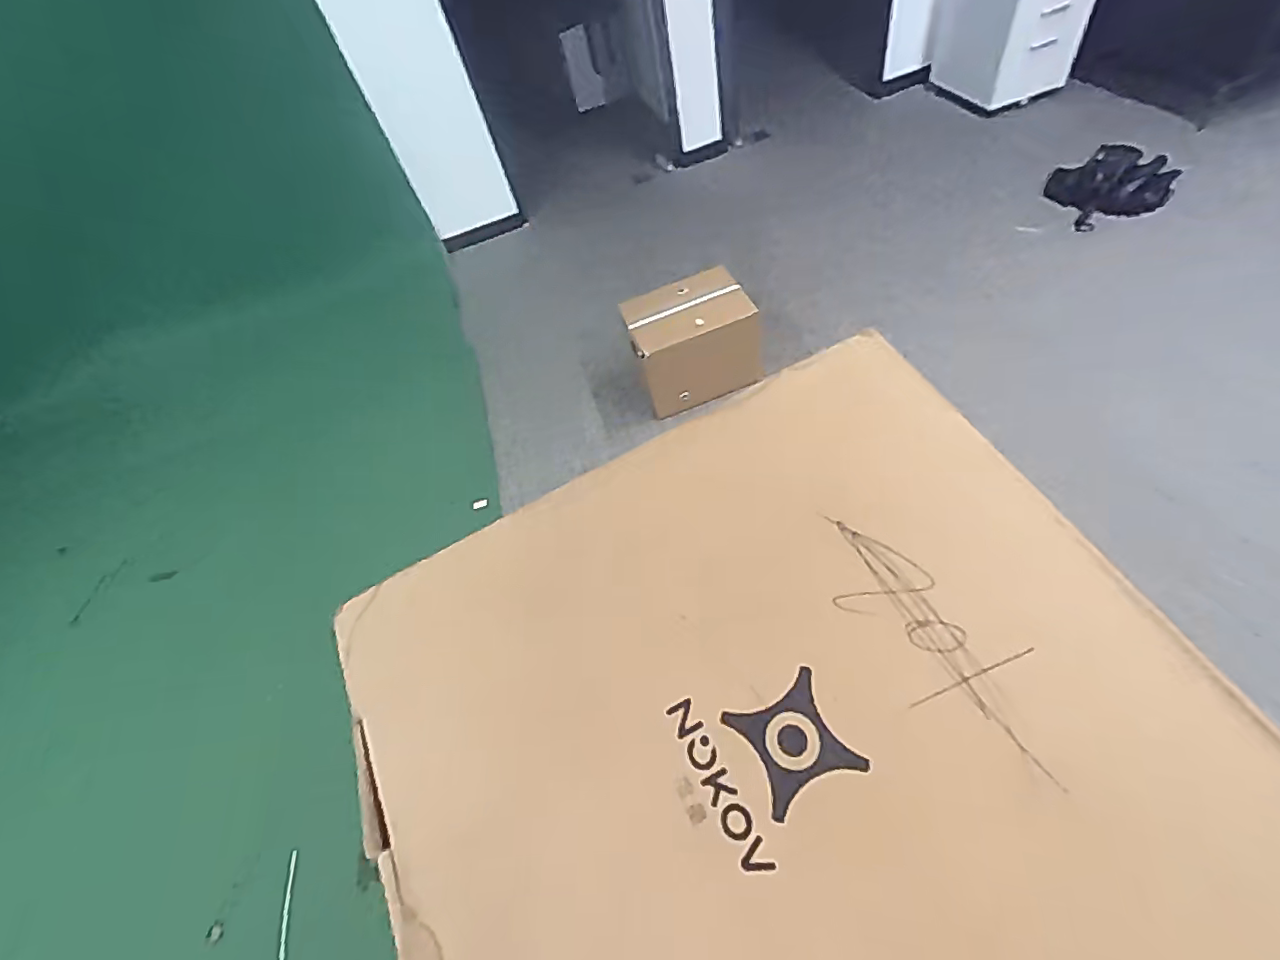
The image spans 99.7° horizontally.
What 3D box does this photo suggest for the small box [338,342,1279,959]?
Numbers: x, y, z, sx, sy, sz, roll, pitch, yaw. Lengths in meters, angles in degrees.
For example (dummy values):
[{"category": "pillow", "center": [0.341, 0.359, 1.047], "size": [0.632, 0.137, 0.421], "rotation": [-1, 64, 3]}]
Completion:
[{"category": "small box", "center": [0.036, 0.093, 0.196], "size": [0.179, 0.176, 0.168], "rotation": [-27, 63, -6]}]
